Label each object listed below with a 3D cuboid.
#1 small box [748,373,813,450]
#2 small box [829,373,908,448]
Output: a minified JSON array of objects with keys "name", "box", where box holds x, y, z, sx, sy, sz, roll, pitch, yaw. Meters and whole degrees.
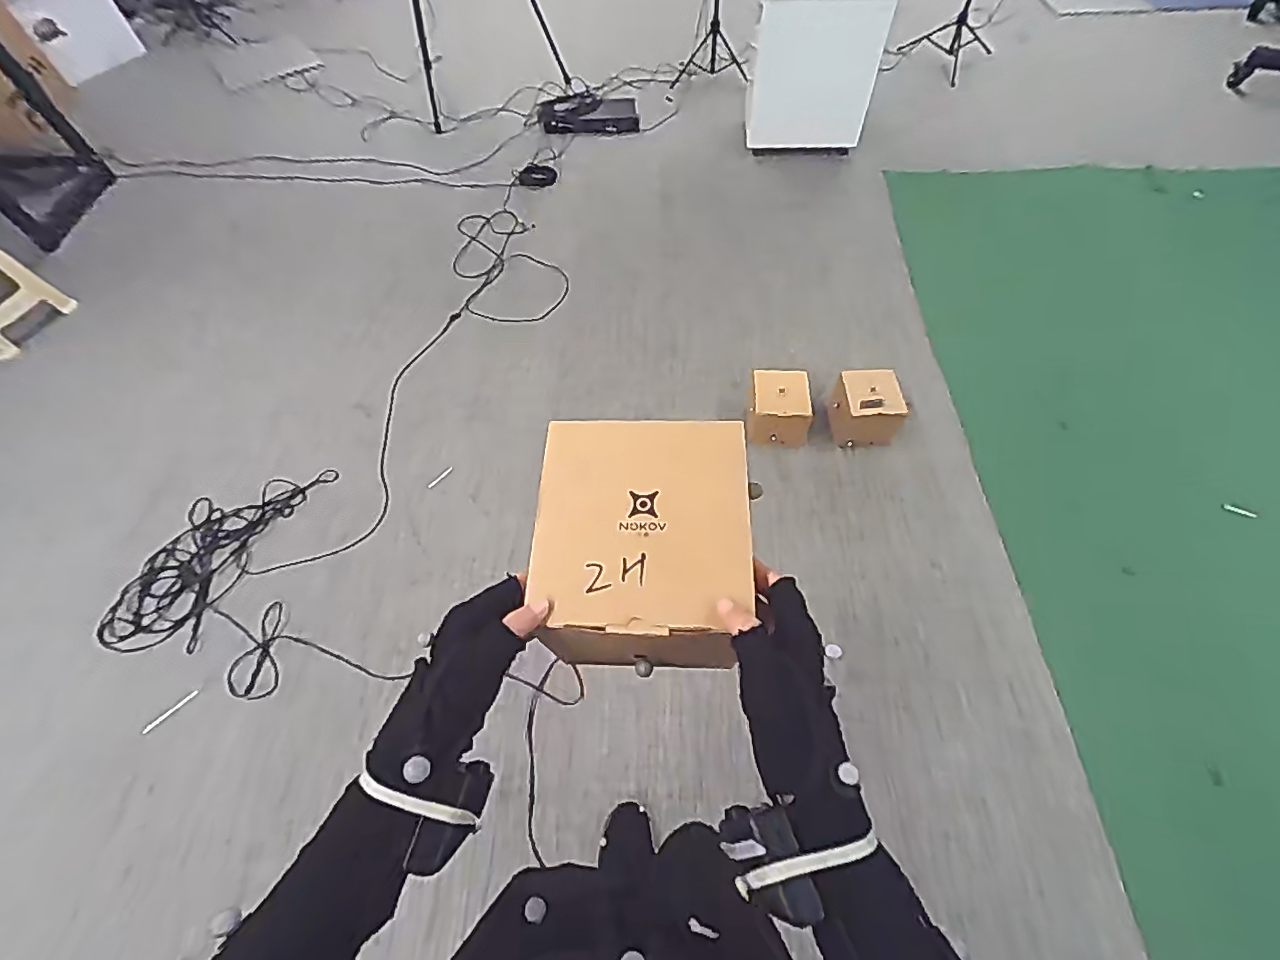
[{"name":"small box","box":[0.436,-0.214,1.701,0.168,0.176,0.179,2,59,4]},{"name":"small box","box":[0.705,-0.212,1.686,0.168,0.176,0.179,-1,58,2]}]
